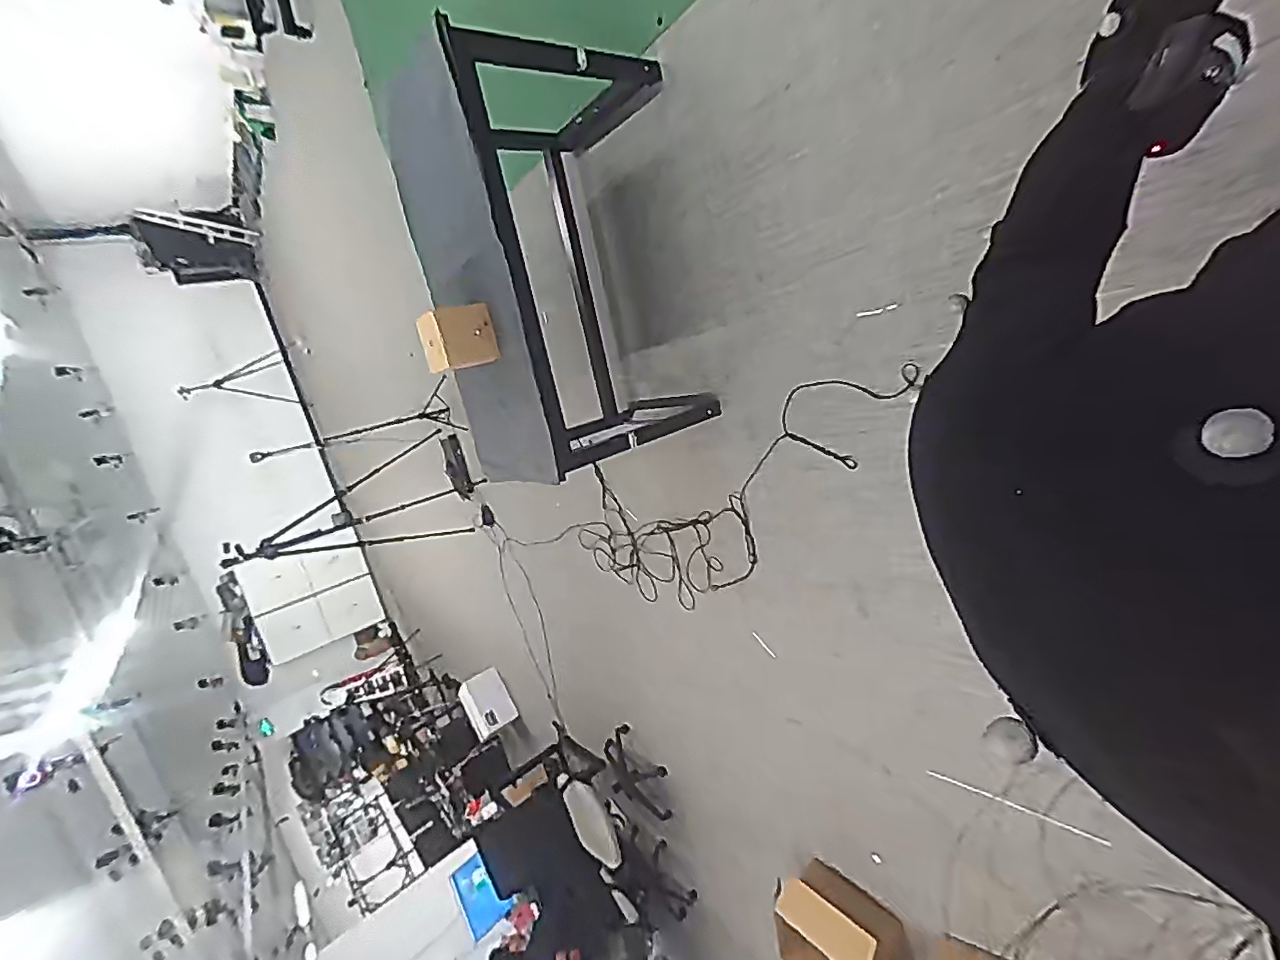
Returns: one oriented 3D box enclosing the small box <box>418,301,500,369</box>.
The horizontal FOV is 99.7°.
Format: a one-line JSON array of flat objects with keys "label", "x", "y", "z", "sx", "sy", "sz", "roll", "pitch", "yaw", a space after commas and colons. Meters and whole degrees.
[{"label": "small box", "x": -0.552, "y": -0.441, "z": 1.653, "sx": 0.179, "sy": 0.176, "sz": 0.168, "roll": 5, "pitch": 112, "yaw": 52}]
